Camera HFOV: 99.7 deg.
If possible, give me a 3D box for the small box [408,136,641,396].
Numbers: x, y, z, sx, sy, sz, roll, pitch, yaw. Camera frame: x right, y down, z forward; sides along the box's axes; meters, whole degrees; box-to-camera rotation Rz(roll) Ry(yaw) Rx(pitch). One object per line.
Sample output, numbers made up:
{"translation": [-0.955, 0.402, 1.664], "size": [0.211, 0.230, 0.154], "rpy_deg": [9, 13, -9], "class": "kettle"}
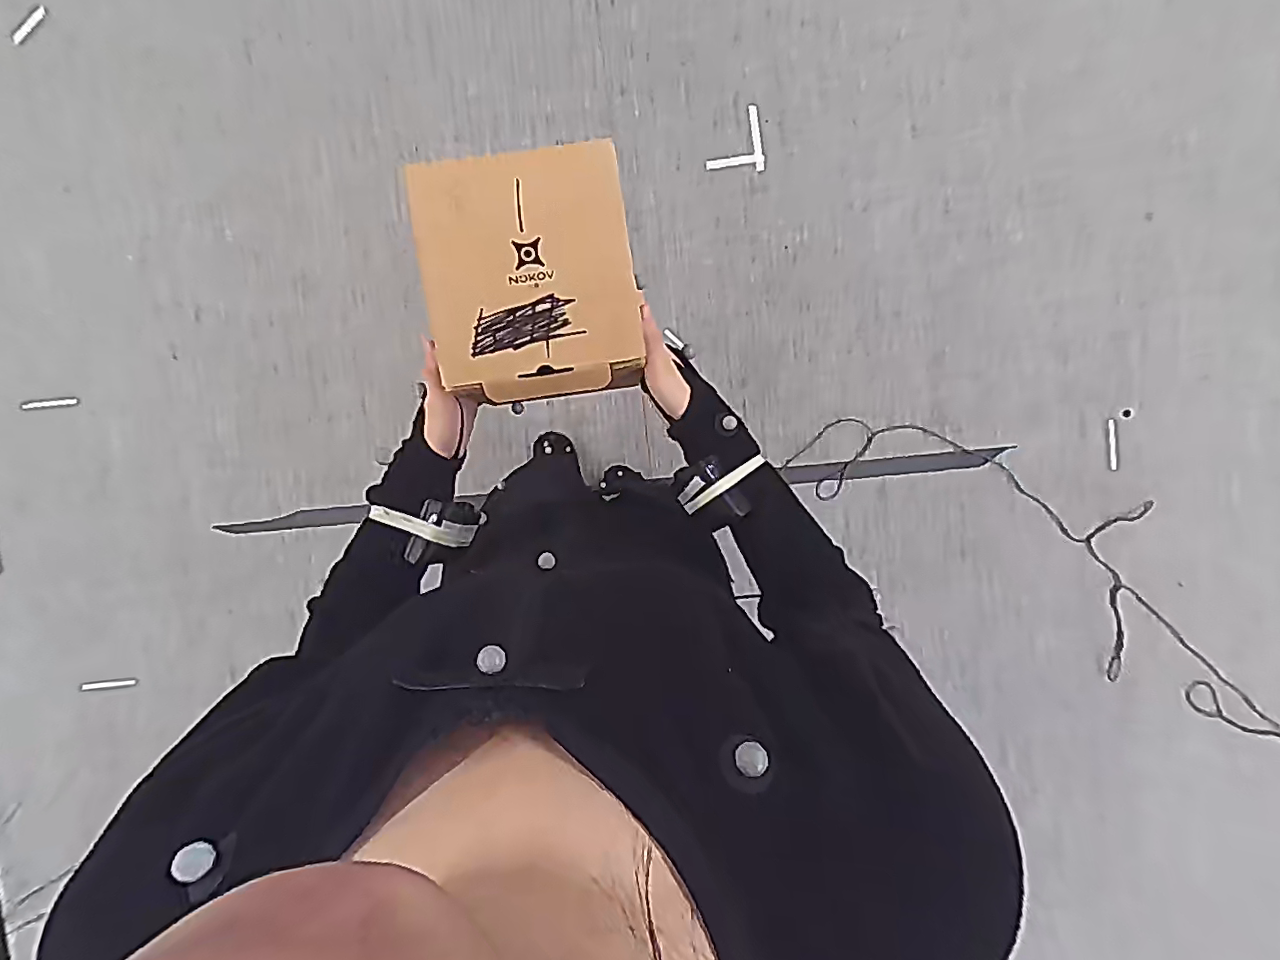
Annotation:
{"translation": [-0.090, -0.176, 0.504], "size": [0.168, 0.176, 0.179], "rpy_deg": [-8, 93, -2], "class": "small box"}
